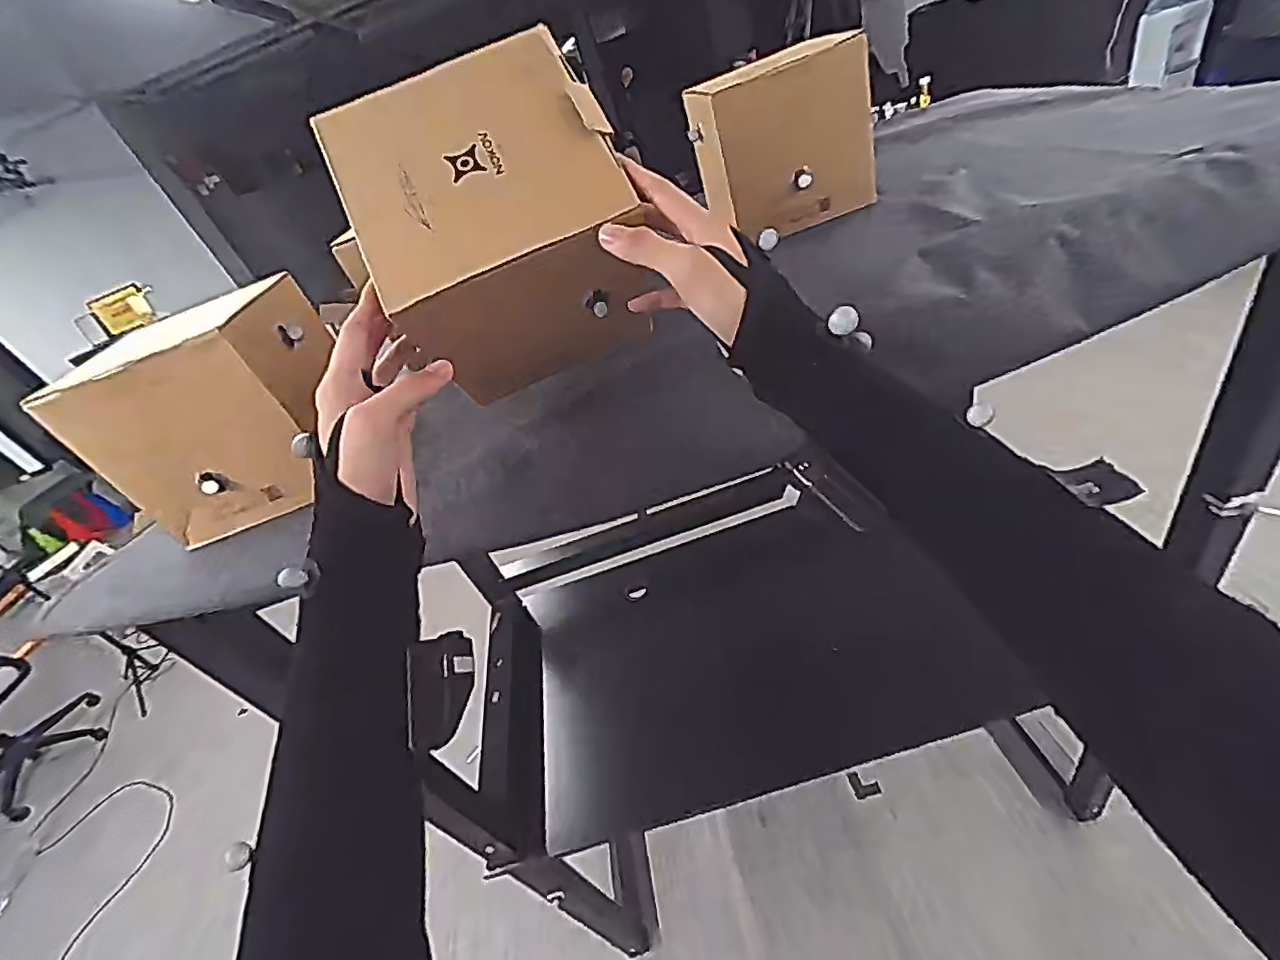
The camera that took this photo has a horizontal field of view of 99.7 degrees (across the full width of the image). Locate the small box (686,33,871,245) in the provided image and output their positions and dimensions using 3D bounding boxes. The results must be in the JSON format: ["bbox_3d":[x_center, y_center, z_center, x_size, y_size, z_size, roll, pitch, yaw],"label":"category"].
[{"bbox_3d":[0.167,-0.411,0.667,0.168,0.176,0.179,-19,36,6],"label":"small box"}]

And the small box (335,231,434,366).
[{"bbox_3d":[-0.252,-0.270,0.710,0.168,0.176,0.179,-20,35,4],"label":"small box"}]

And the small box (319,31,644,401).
[{"bbox_3d":[-0.106,-0.190,0.433,0.179,0.176,0.168,-25,76,-2],"label":"small box"}]

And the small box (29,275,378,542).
[{"bbox_3d":[-0.385,-0.072,0.525,0.168,0.176,0.179,-22,36,0],"label":"small box"}]
